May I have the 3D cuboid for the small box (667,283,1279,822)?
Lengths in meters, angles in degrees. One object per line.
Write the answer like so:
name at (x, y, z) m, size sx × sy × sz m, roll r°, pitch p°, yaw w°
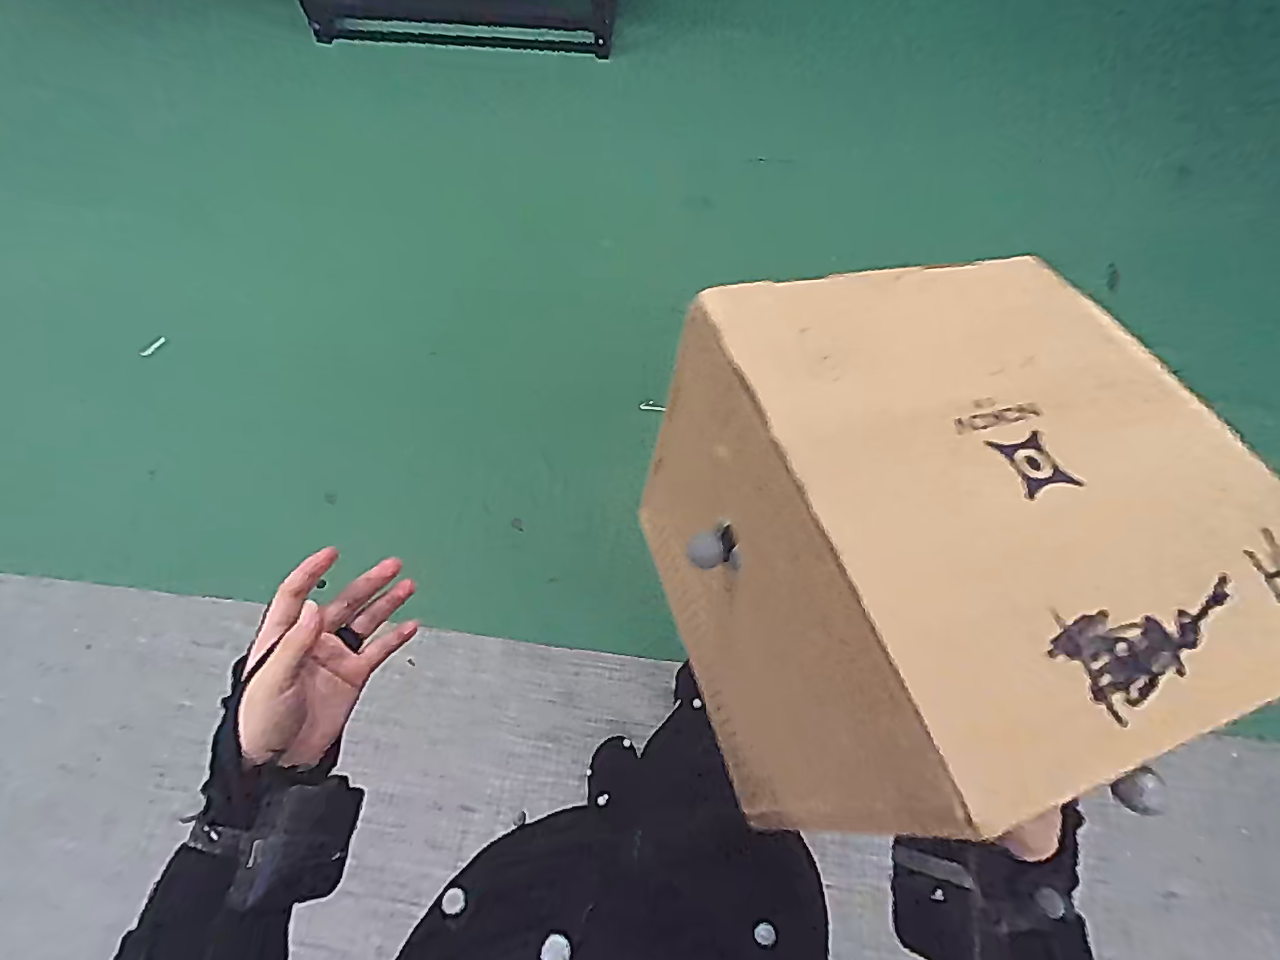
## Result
small box at (0.122, 0.037, 0.253) m, size 0.168 × 0.176 × 0.179 m, roll -12°, pitch 60°, yaw -14°
